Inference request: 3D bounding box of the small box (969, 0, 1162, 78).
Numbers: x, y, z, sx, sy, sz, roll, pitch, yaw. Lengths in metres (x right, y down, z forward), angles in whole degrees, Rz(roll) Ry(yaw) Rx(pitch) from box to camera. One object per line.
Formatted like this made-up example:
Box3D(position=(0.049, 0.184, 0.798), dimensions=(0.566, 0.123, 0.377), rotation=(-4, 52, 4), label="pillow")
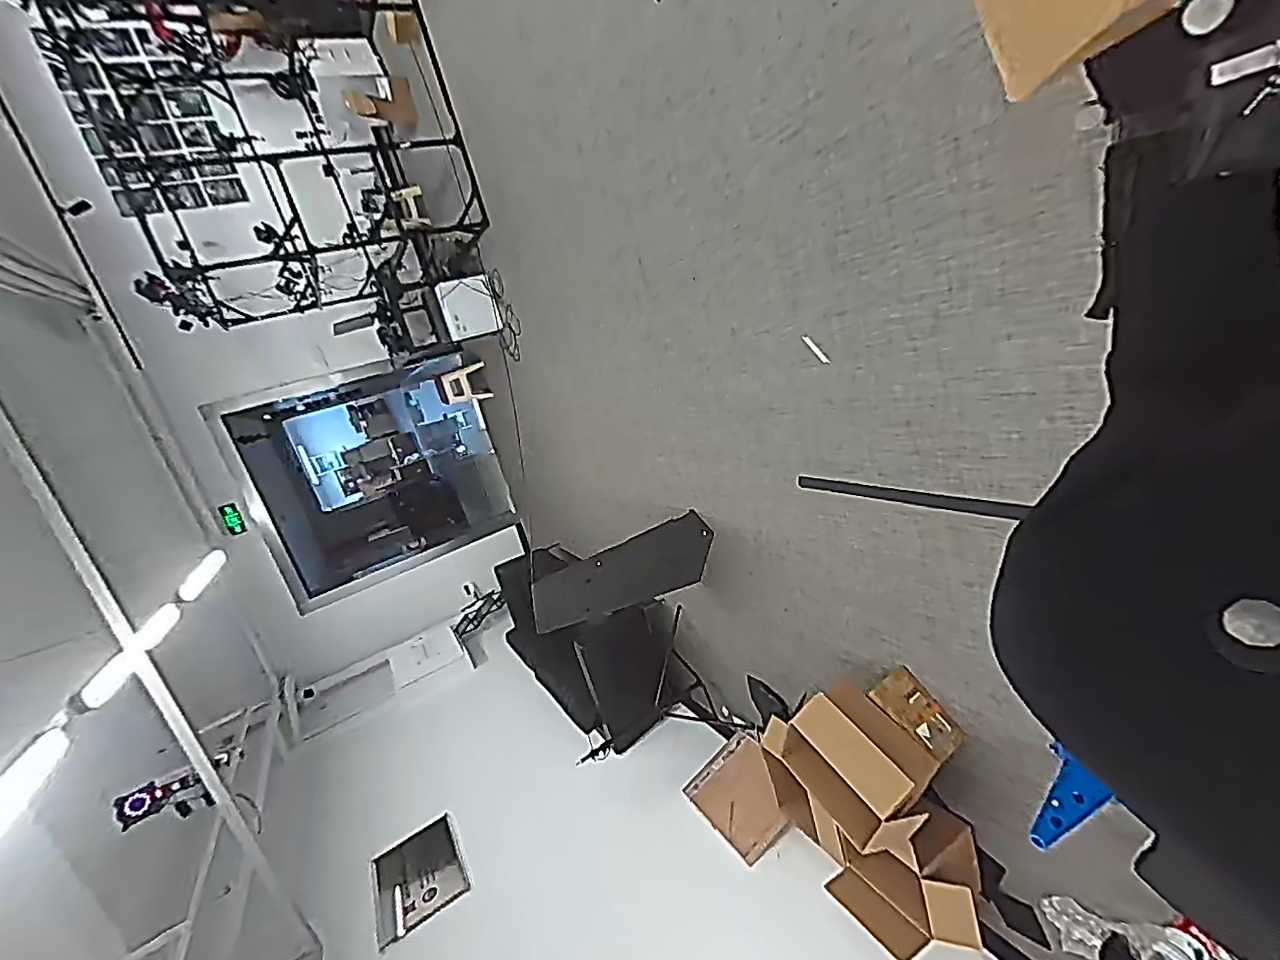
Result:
Box3D(position=(0.197, -0.285, 0.178), dimensions=(0.168, 0.176, 0.179), rotation=(-24, 103, 30), label="small box")
